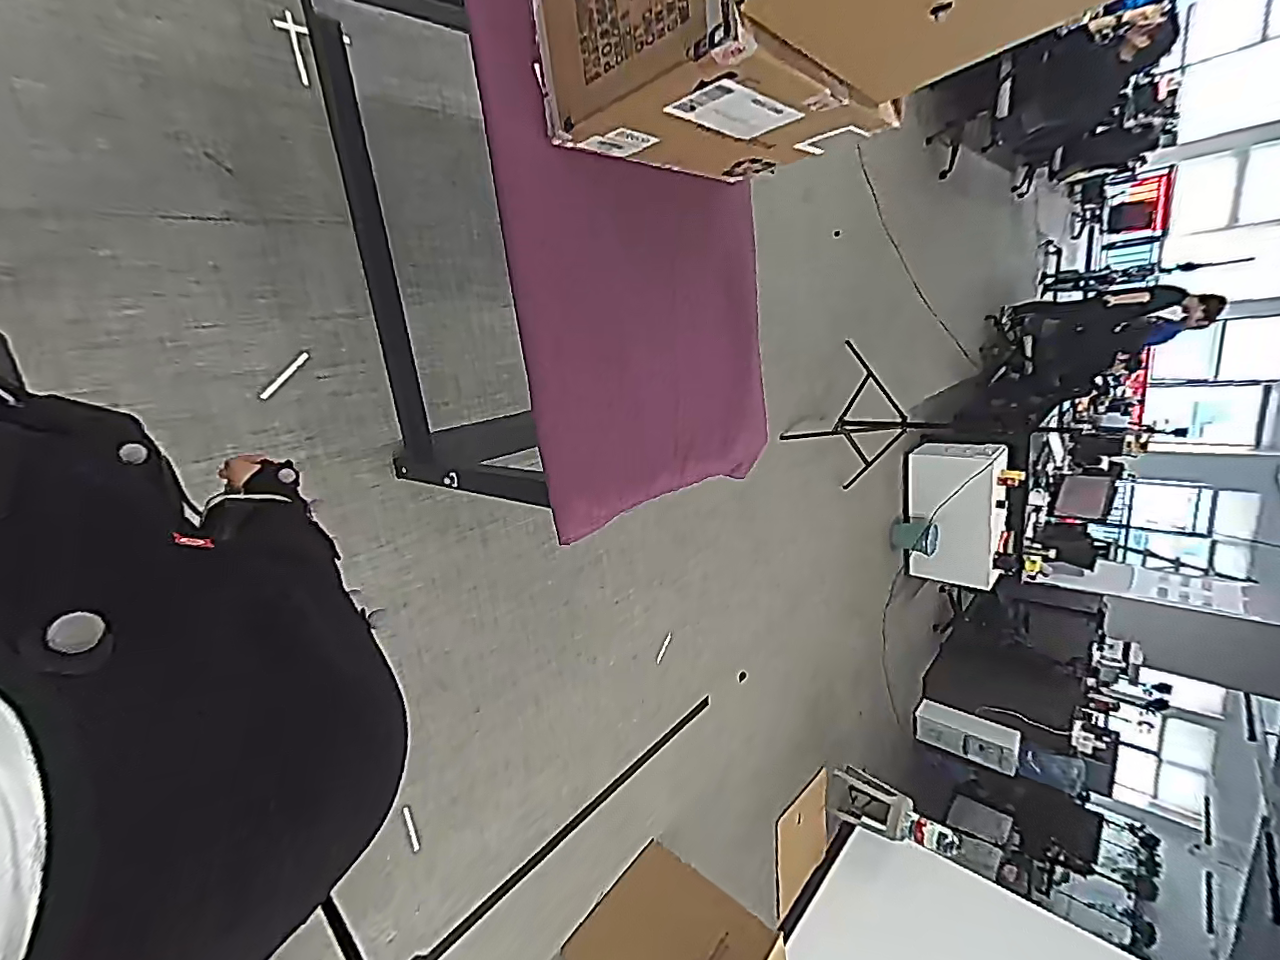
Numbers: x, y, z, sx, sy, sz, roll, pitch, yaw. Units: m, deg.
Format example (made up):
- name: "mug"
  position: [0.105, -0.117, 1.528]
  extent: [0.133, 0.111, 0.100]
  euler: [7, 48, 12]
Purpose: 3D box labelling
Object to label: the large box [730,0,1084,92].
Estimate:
- name: "large box"
  position: [0.315, -0.684, 0.569]
  extent: [0.408, 0.320, 0.320]
  euler: [-19, 105, -43]
